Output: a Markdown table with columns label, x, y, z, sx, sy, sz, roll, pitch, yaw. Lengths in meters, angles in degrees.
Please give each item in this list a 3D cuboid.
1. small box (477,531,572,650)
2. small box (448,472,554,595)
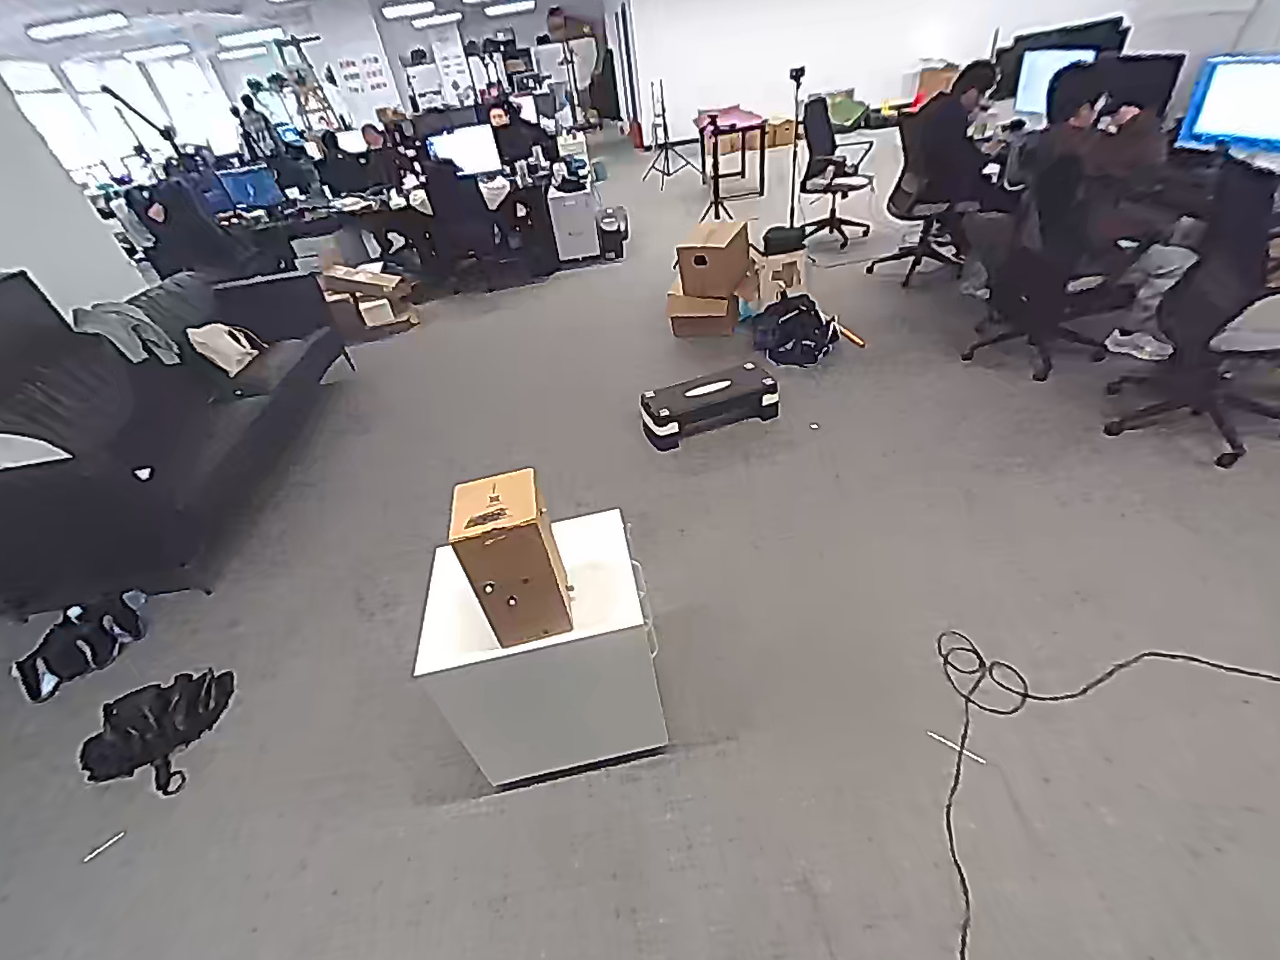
| label | x | y | z | sx | sy | sz | roll | pitch | yaw |
| --- | --- | --- | --- | --- | --- | --- | --- | --- | --- |
| small box | -0.254 | 0.244 | 1.202 | 0.168 | 0.176 | 0.179 | -15 | 36 | -5 |
| small box | -0.277 | 0.114 | 1.103 | 0.168 | 0.176 | 0.179 | -14 | 36 | -5 |
